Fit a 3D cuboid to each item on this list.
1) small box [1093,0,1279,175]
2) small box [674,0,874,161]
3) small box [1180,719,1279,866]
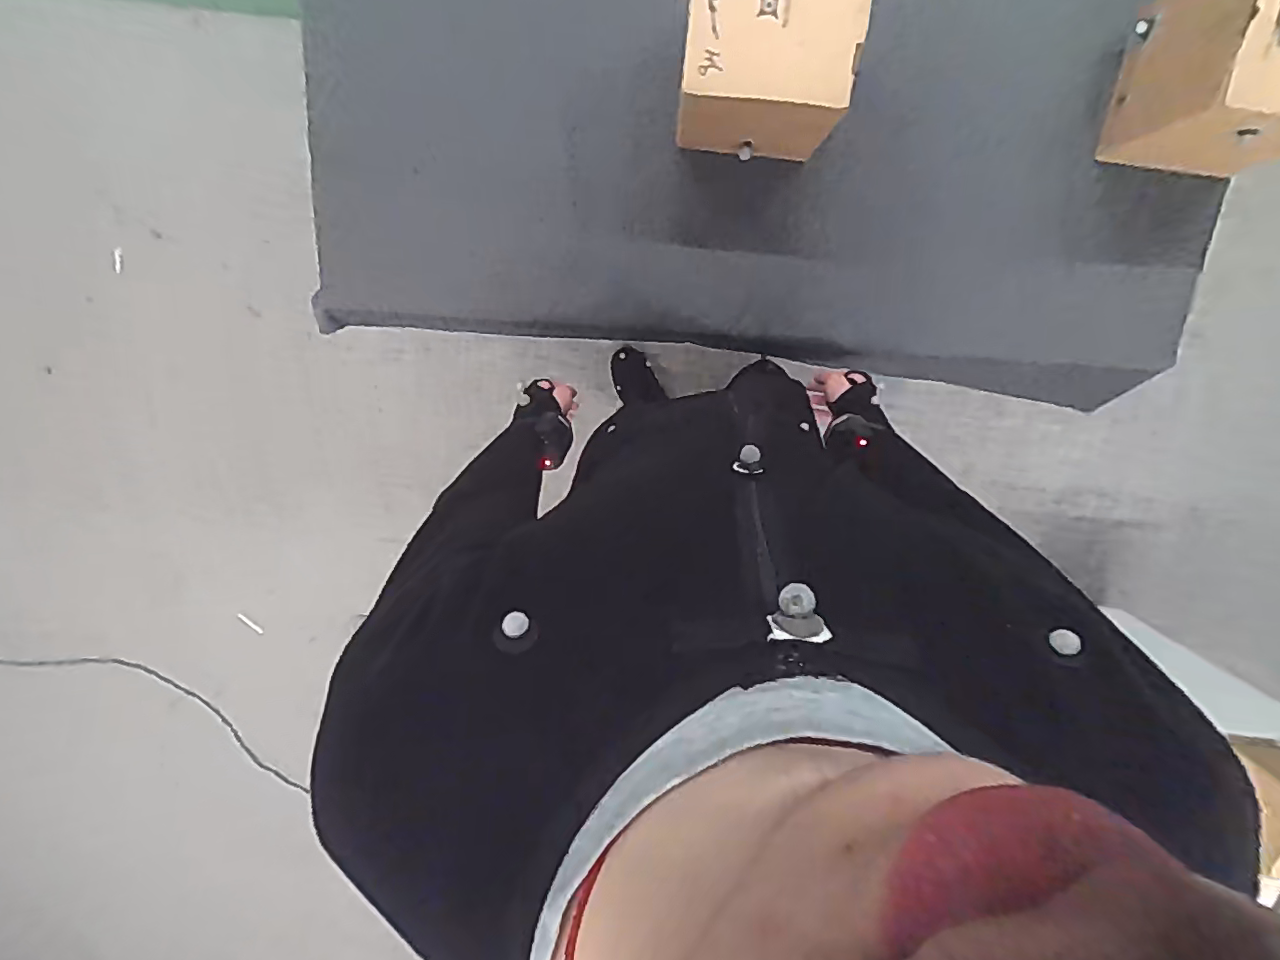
[{"bbox_3d":[0.678,-0.467,0.613,0.179,0.176,0.168,6,104,-3],"label":"small box"},{"bbox_3d":[0.139,-0.478,0.605,0.179,0.176,0.168,4,103,-3],"label":"small box"},{"bbox_3d":[1.180,0.580,1.009,0.168,0.176,0.179,3,103,-3],"label":"small box"}]
